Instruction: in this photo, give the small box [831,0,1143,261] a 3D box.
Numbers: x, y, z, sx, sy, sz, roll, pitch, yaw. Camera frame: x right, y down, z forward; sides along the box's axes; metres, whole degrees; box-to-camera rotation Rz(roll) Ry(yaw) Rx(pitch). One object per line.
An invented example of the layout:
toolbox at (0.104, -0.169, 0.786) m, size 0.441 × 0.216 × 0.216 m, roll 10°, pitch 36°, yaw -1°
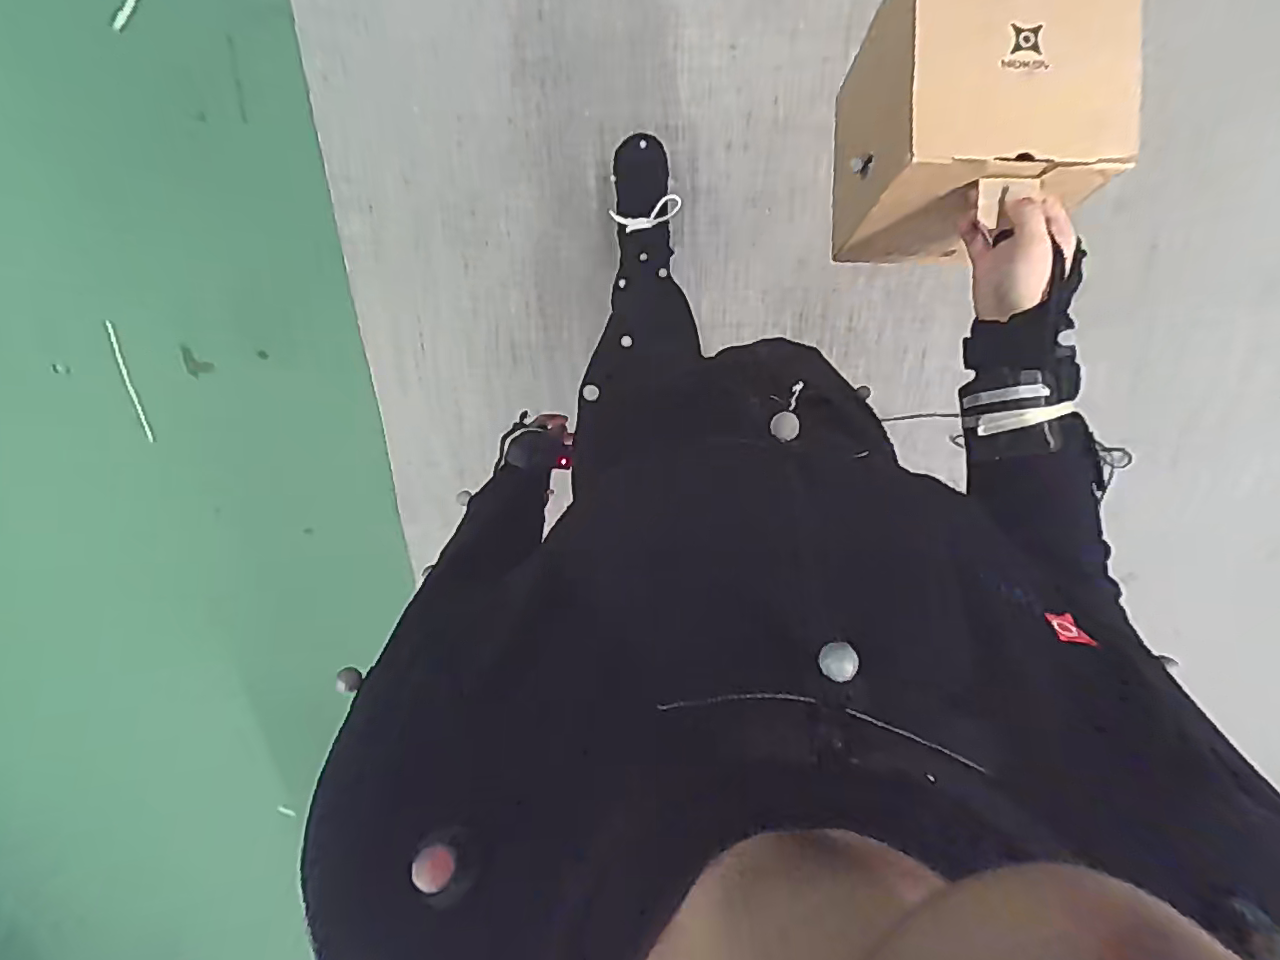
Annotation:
small box at (0.274, -0.307, 0.465) m, size 0.168 × 0.176 × 0.179 m, roll 1°, pitch 87°, yaw 0°
